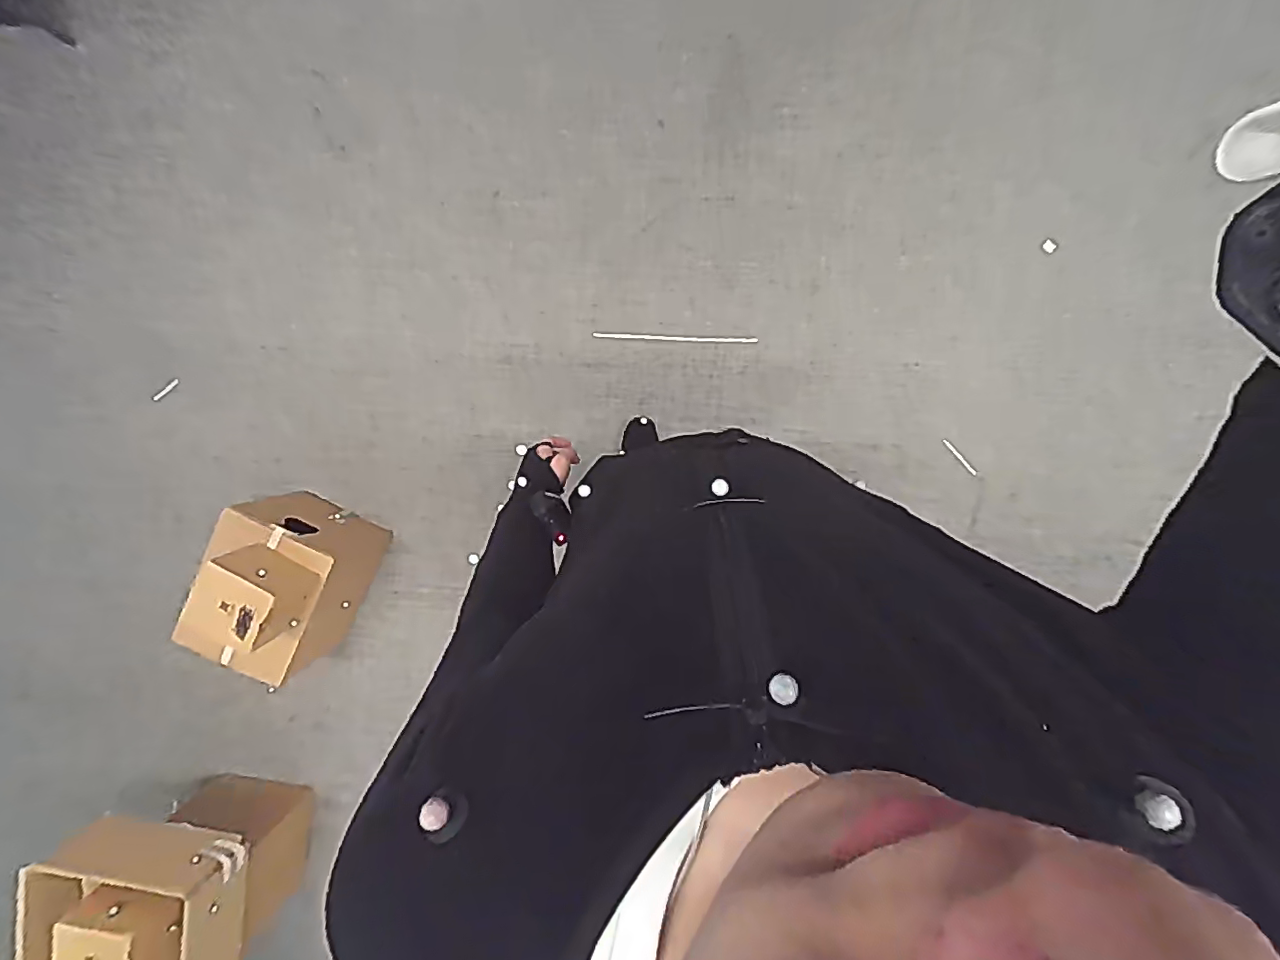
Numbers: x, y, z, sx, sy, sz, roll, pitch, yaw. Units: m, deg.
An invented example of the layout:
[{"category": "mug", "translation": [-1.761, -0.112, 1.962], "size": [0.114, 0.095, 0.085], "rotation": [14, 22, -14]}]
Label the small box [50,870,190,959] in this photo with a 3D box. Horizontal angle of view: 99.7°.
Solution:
[{"category": "small box", "translation": [-1.234, 1.076, 1.288], "size": [0.179, 0.176, 0.168], "rotation": [11, 97, -1]}]

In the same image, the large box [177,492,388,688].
[{"category": "large box", "translation": [-0.996, 0.291, 1.546], "size": [0.320, 0.320, 0.408], "rotation": [26, 97, -1]}]

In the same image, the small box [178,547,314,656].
[{"category": "small box", "translation": [-0.931, 0.282, 1.296], "size": [0.179, 0.176, 0.168], "rotation": [30, 96, -3]}]
